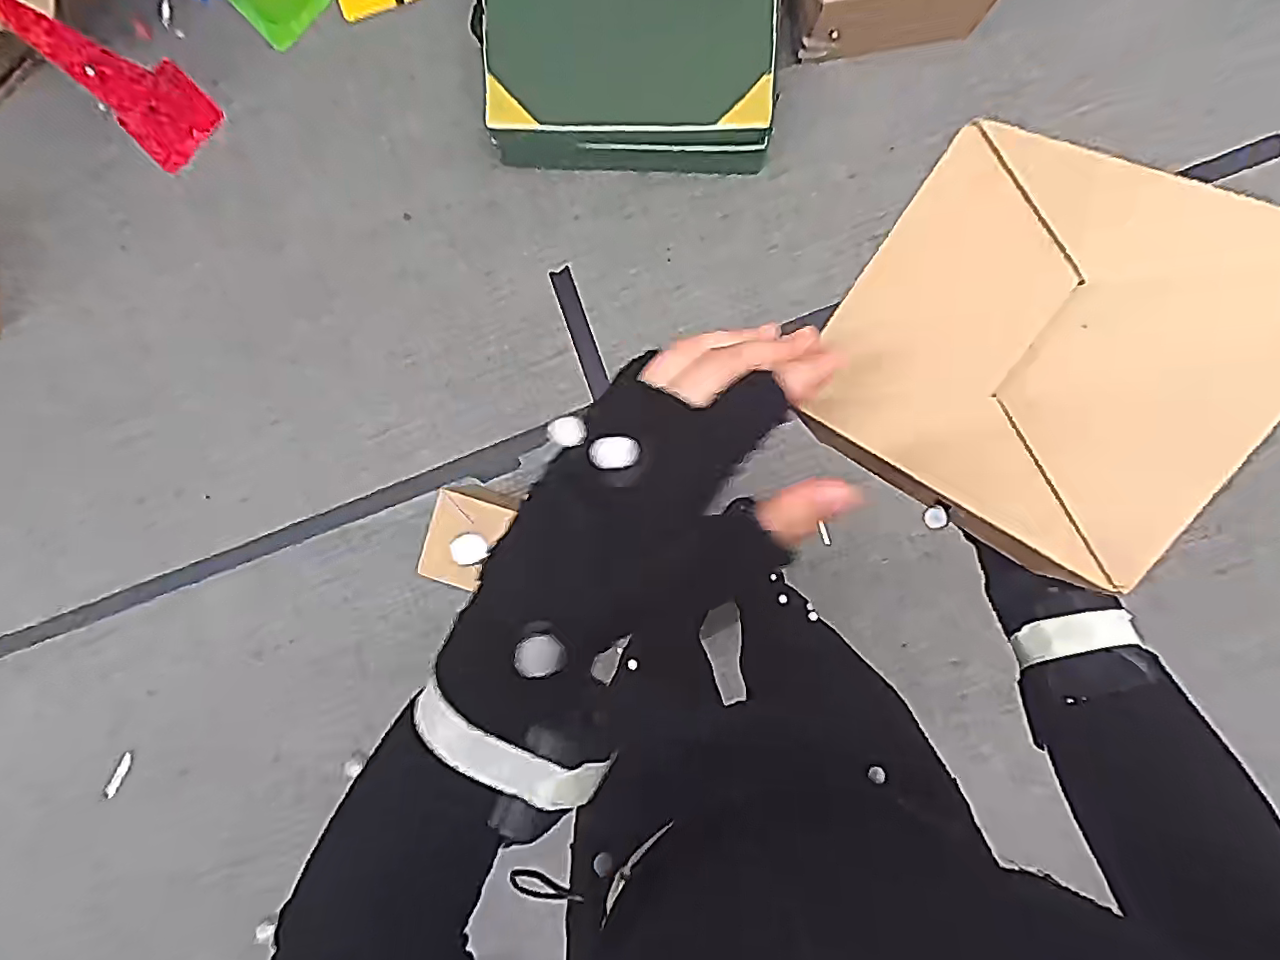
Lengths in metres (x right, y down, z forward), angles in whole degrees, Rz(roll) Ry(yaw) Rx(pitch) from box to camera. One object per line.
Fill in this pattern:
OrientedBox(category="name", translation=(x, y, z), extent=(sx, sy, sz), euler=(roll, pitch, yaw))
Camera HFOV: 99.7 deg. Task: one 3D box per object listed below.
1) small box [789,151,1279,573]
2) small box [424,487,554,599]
OrientedBox(category="small box", translation=(0.218, -0.057, 0.332), extent=(0.179, 0.176, 0.168), euler=(37, 100, 25))
OrientedBox(category="small box", translation=(-0.290, 0.119, 1.064), extent=(0.179, 0.176, 0.168), euler=(17, 93, 3))
